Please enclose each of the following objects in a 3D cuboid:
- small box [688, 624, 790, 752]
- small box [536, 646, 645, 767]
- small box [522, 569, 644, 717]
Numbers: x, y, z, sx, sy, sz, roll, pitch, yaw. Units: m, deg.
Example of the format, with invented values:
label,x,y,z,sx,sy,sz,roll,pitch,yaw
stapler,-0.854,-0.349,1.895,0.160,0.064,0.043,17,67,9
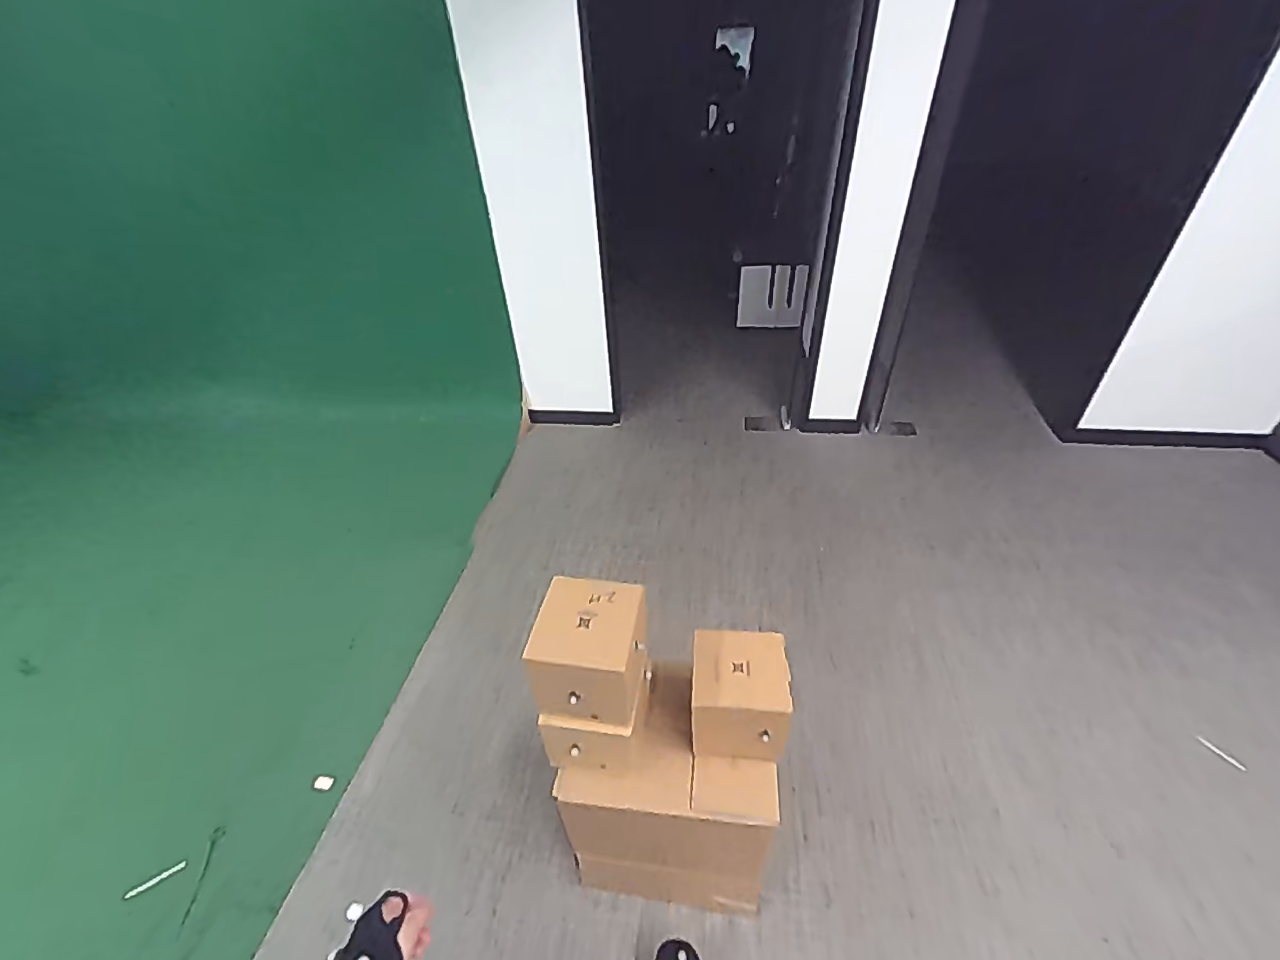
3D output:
label,x,y,z,sx,sy,sz,roll,pitch,yaw
small box,0.186,0.402,1.043,0.179,0.176,0.168,2,37,8
small box,-0.083,0.421,1.034,0.168,0.176,0.179,5,39,8
small box,-0.086,0.284,0.941,0.168,0.176,0.179,6,39,9
